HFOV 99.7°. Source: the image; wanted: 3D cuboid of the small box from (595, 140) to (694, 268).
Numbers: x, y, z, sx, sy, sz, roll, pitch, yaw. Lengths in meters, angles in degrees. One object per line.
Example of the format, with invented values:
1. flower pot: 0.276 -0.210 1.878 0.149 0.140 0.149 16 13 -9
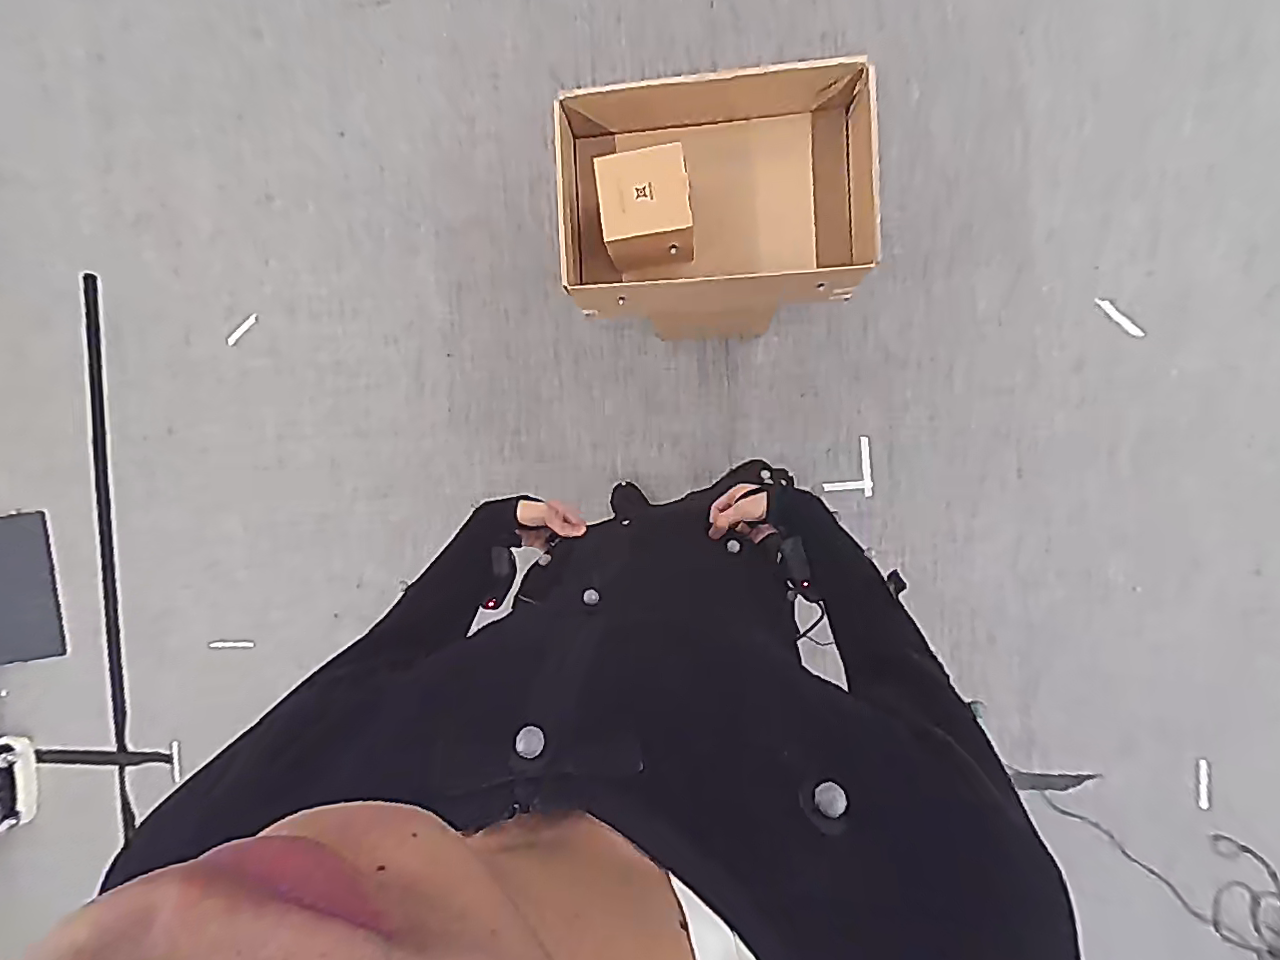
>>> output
1. small box: 0.014 -0.553 1.106 0.179 0.176 0.168 -7 90 6
